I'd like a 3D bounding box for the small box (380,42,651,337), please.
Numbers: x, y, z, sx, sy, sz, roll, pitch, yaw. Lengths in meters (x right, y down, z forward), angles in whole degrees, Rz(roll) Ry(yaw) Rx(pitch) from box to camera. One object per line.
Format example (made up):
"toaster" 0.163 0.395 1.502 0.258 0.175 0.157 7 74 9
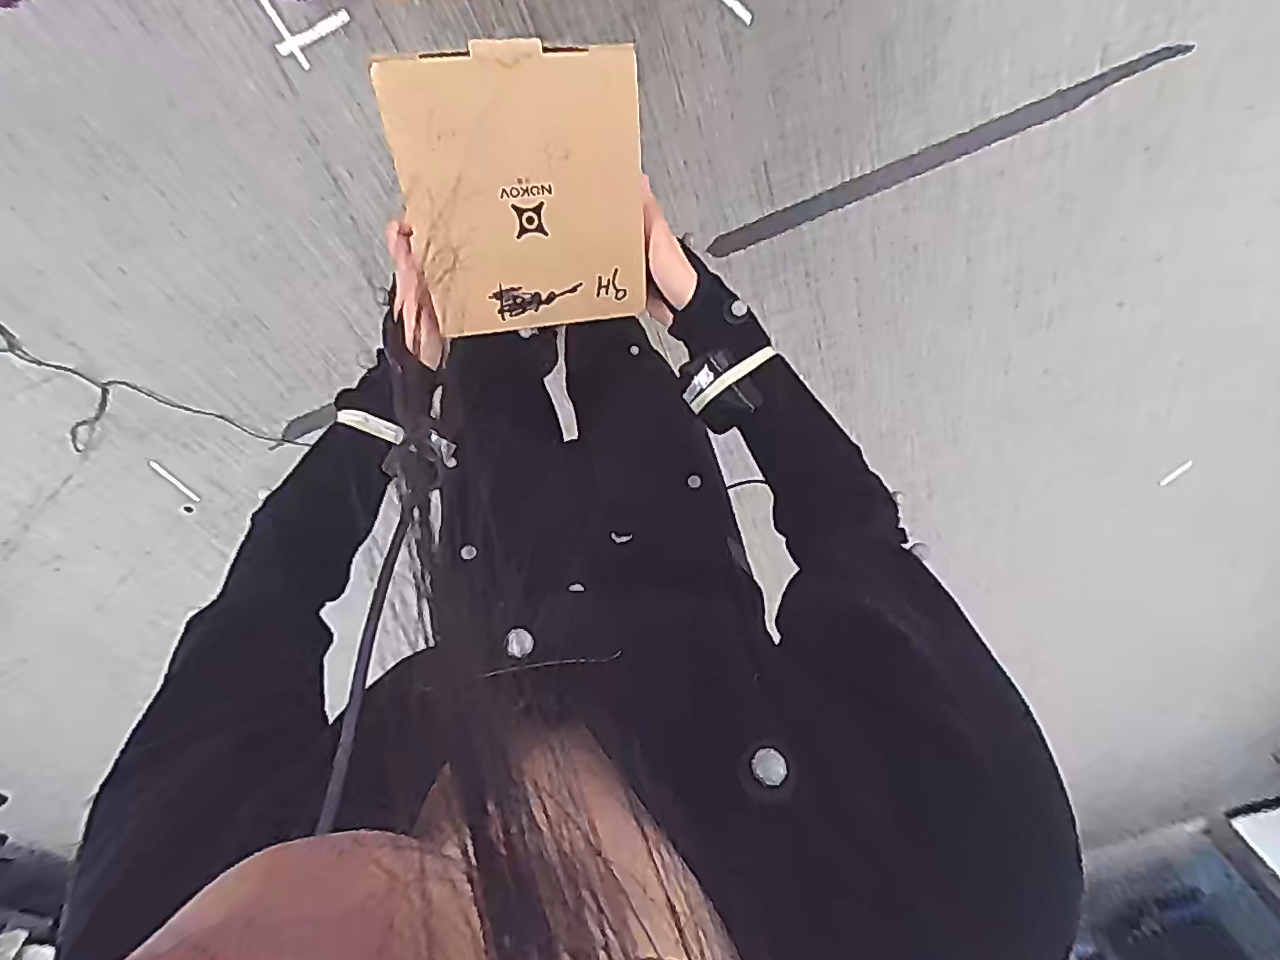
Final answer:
"small box" -0.091 -0.235 0.439 0.168 0.176 0.179 -9 127 -9
